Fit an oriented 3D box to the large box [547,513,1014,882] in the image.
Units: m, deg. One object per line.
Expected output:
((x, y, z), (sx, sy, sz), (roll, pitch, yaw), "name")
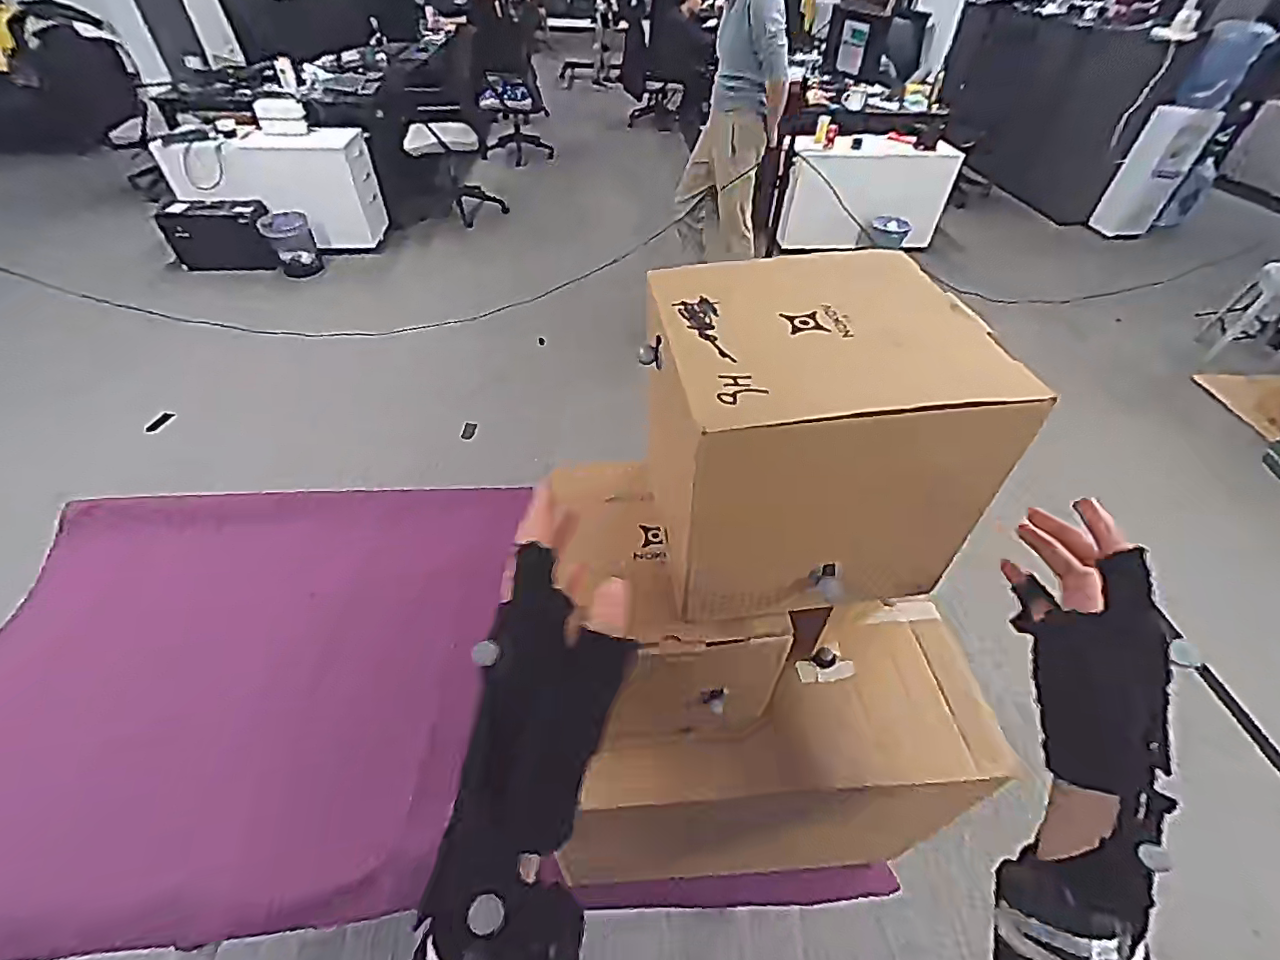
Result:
((0.104, 0.248, 0.648), (0.408, 0.320, 0.320), (-2, 46, -4), "large box")

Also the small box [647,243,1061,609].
((0.101, -0.034, 0.353), (0.179, 0.176, 0.168), (-5, 45, -5), "small box")

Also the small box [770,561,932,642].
((0.183, 0.021, 0.530), (0.168, 0.176, 0.179), (-24, 49, -22), "small box")
